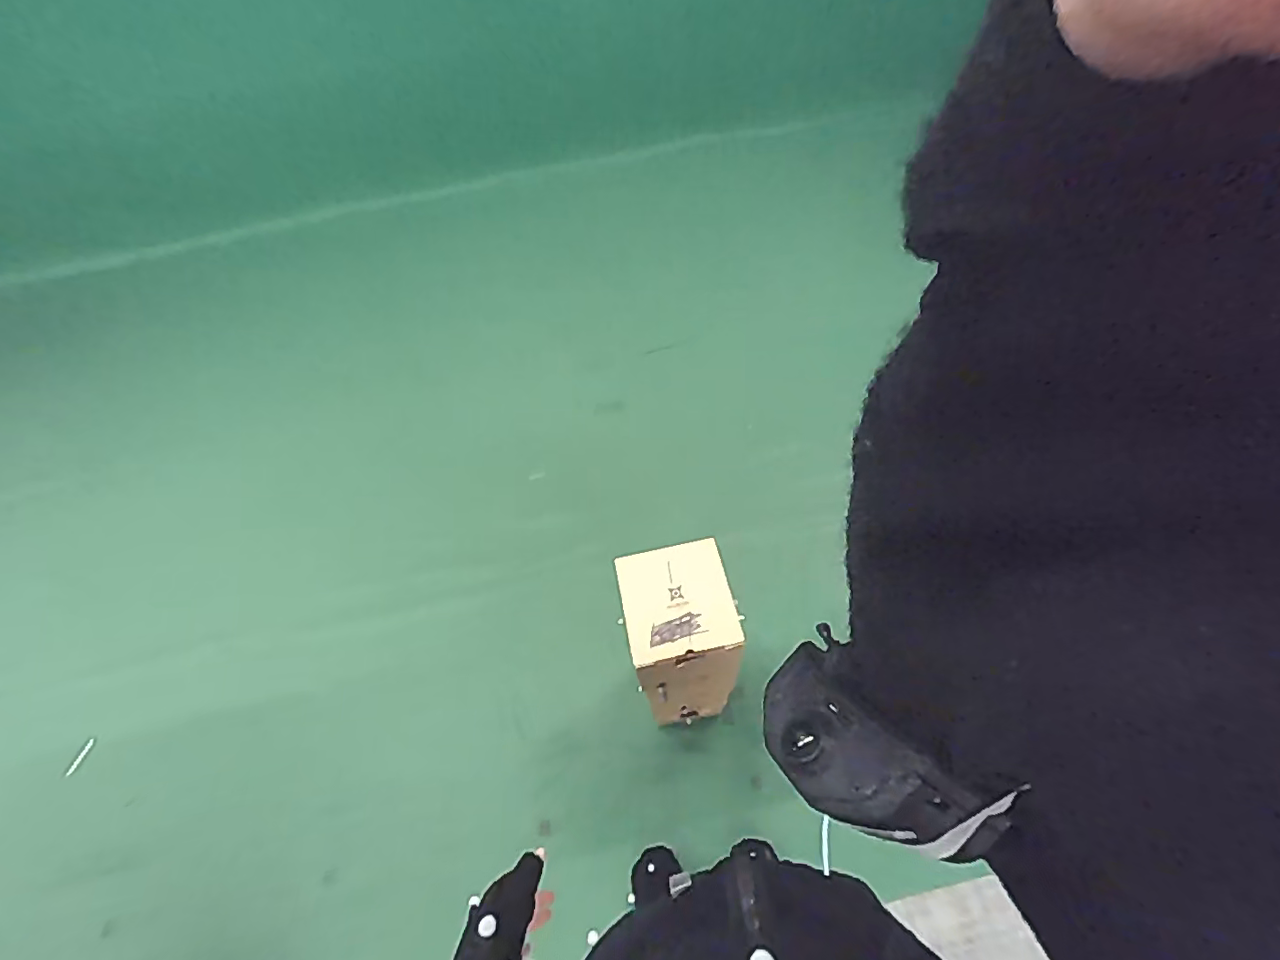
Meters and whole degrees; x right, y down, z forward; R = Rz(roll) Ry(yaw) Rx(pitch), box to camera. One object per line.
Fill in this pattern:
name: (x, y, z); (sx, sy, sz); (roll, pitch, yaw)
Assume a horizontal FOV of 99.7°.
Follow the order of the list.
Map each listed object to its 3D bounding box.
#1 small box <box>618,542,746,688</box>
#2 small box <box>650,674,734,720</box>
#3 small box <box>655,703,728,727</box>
small box: (0.067, 0.229, 0.886); (0.168, 0.176, 0.179); (-12, 56, -2)
small box: (0.096, 0.398, 1.168); (0.168, 0.176, 0.179); (-13, 58, -2)
small box: (0.109, 0.480, 1.308); (0.168, 0.176, 0.179); (-11, 57, 0)
